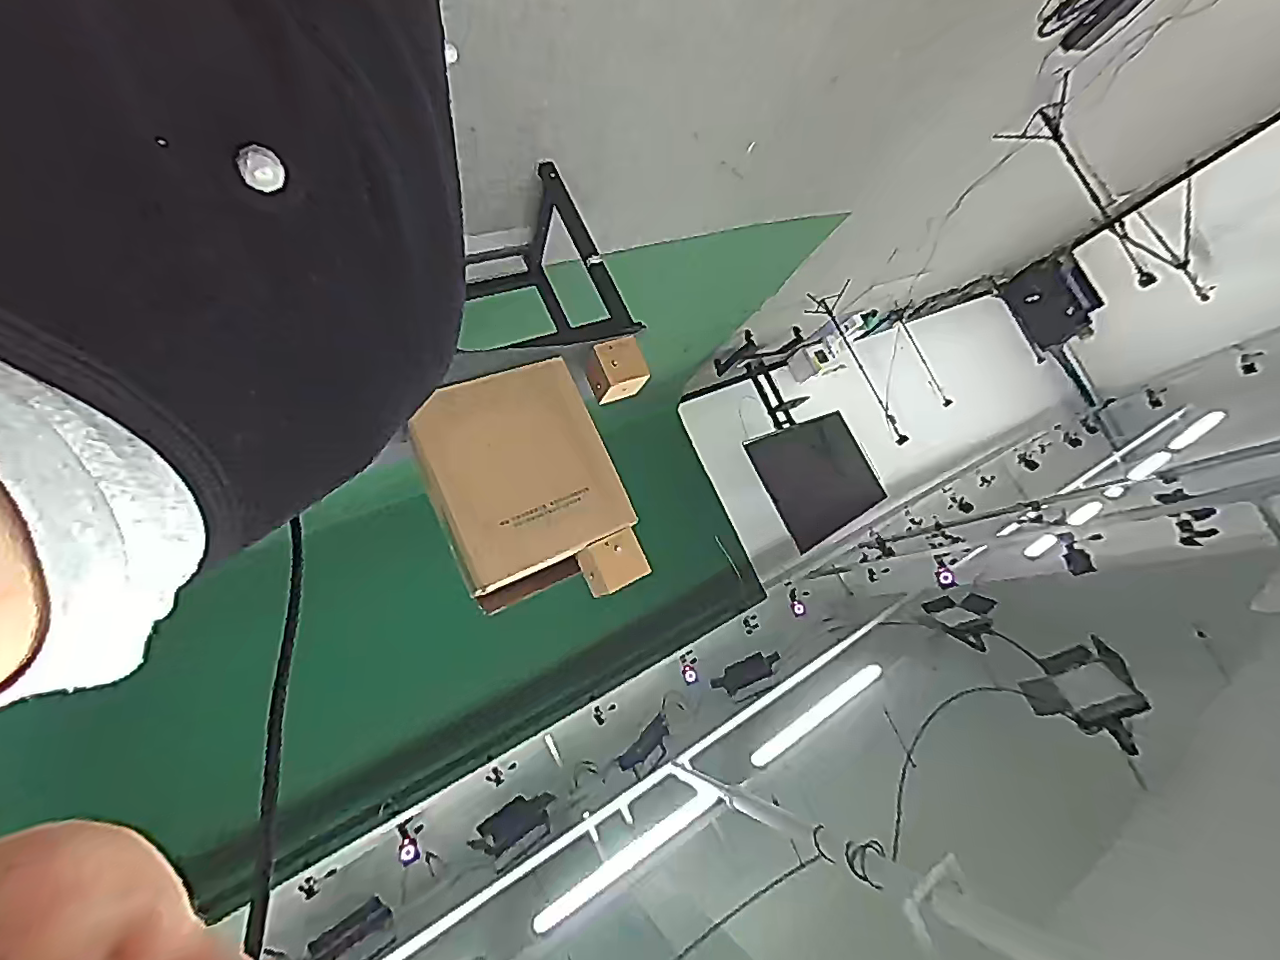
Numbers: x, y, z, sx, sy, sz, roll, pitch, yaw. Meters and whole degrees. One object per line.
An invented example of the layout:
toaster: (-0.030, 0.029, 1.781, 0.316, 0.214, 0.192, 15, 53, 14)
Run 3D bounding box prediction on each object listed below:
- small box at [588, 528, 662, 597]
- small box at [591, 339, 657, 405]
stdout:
small box: (-0.059, 0.276, 1.818, 0.168, 0.176, 0.179, -24, 172, -26)
small box: (-0.067, -0.408, 2.006, 0.168, 0.176, 0.179, -21, 173, -23)
